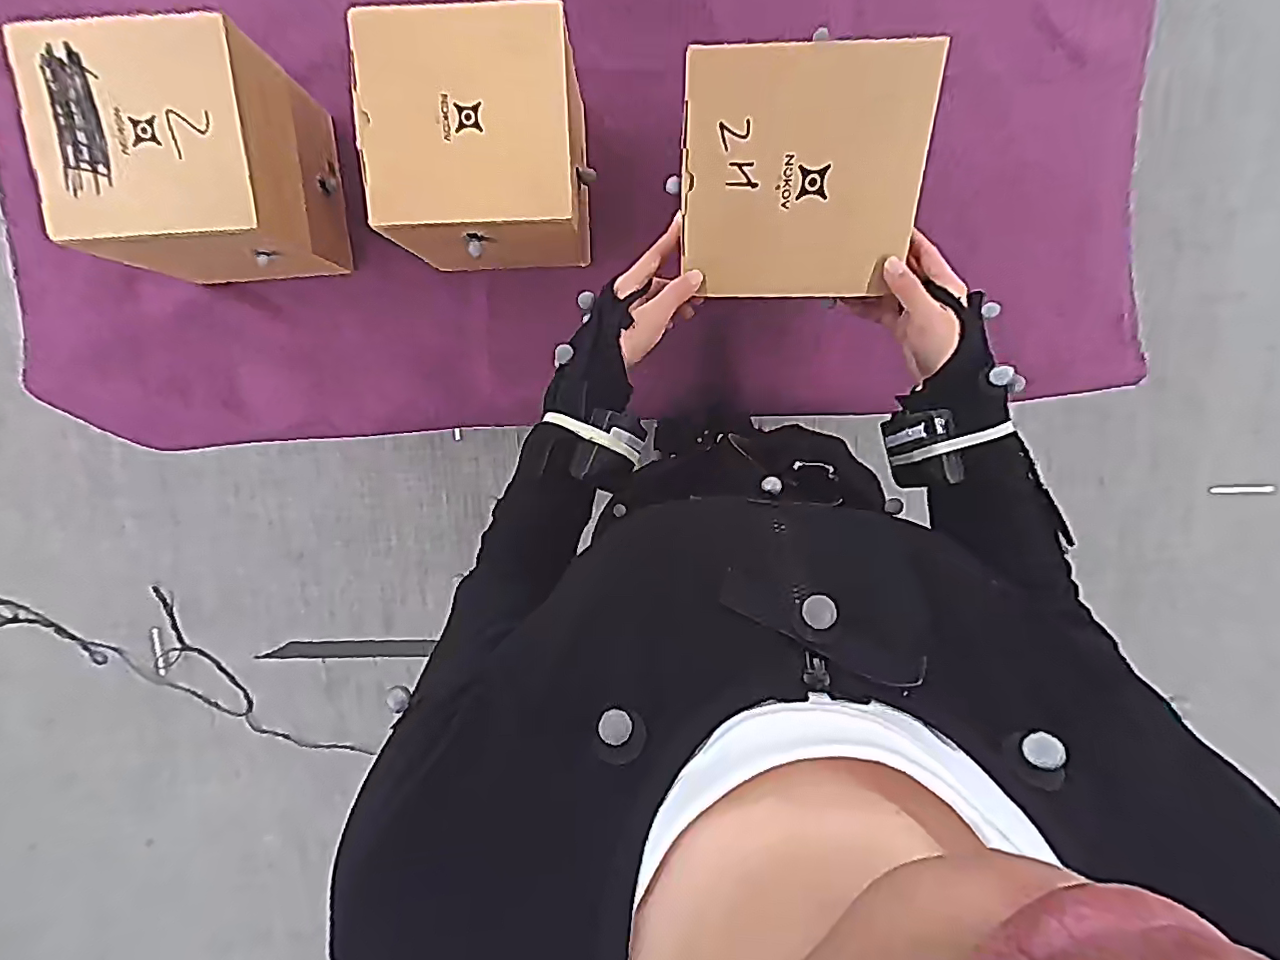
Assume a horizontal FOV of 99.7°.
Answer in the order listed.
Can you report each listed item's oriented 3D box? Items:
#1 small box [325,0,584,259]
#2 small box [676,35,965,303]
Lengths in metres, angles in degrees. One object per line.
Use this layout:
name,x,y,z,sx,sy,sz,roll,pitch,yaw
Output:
small box,-0.148,-0.312,0.500,0.179,0.176,0.168,-4,100,1
small box,0.120,-0.249,0.447,0.179,0.176,0.168,1,120,3
